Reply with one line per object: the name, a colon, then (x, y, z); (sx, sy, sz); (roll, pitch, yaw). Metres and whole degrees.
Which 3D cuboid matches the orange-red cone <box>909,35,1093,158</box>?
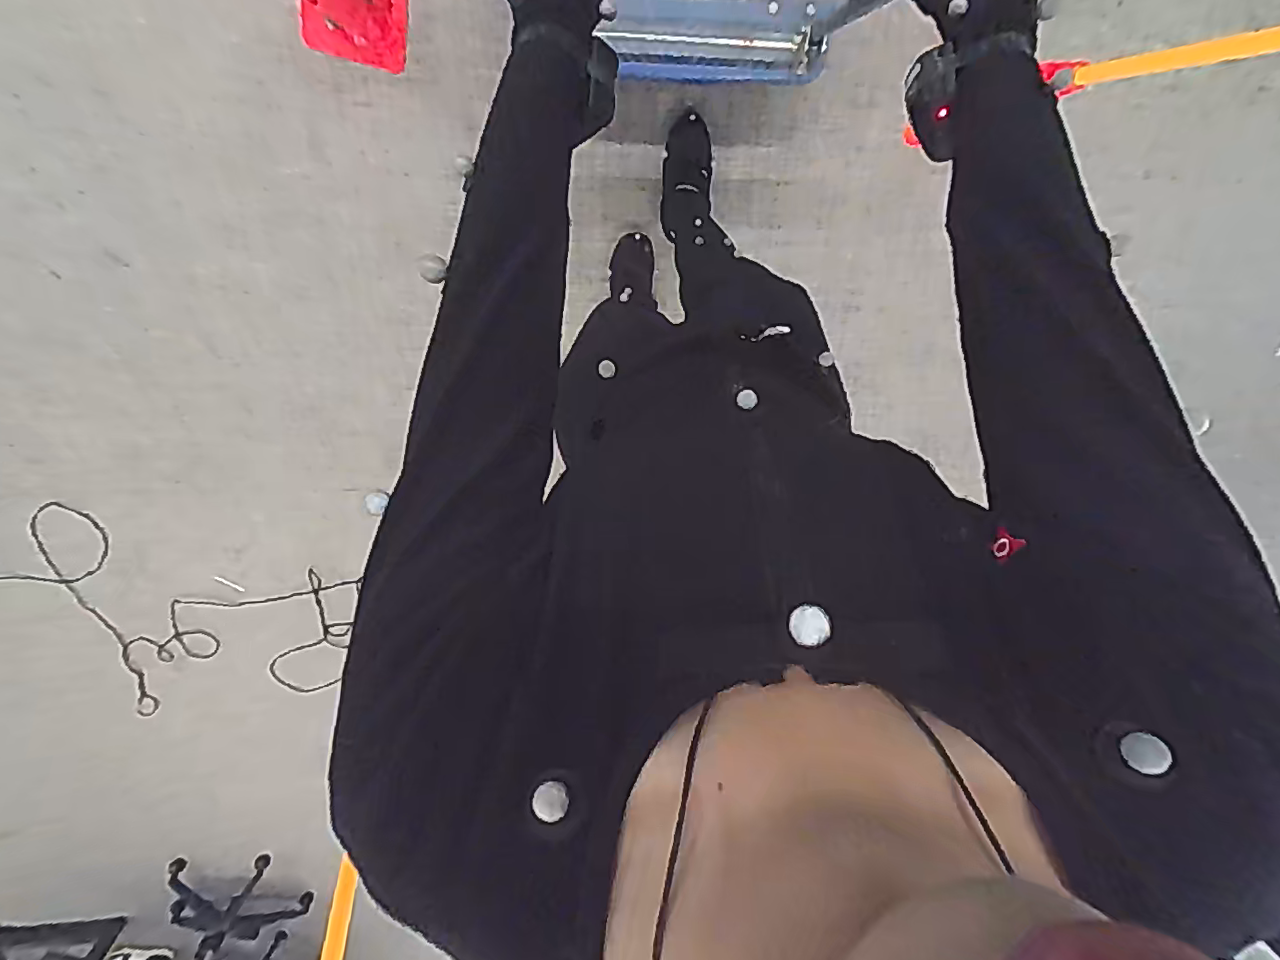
orange-red cone: (0.725, -0.758, 1.047); (0.198, 0.360, 0.199); (9, 119, -8)
